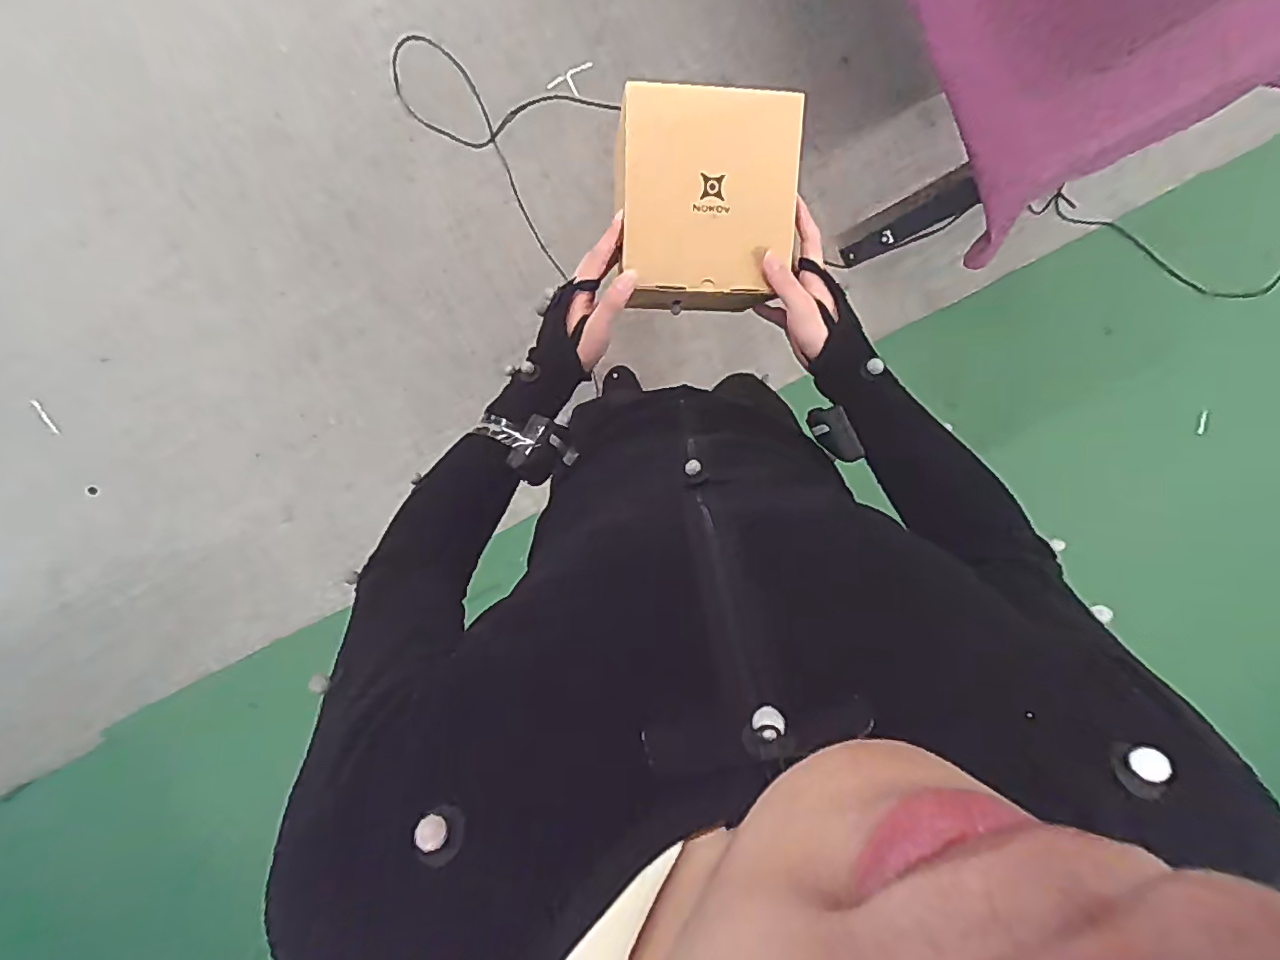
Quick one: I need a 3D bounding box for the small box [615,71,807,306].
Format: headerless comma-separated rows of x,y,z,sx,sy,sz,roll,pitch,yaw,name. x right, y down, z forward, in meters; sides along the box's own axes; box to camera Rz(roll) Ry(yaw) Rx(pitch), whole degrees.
0.060,-0.286,0.572,0.168,0.176,0.179,0,103,-5,small box
